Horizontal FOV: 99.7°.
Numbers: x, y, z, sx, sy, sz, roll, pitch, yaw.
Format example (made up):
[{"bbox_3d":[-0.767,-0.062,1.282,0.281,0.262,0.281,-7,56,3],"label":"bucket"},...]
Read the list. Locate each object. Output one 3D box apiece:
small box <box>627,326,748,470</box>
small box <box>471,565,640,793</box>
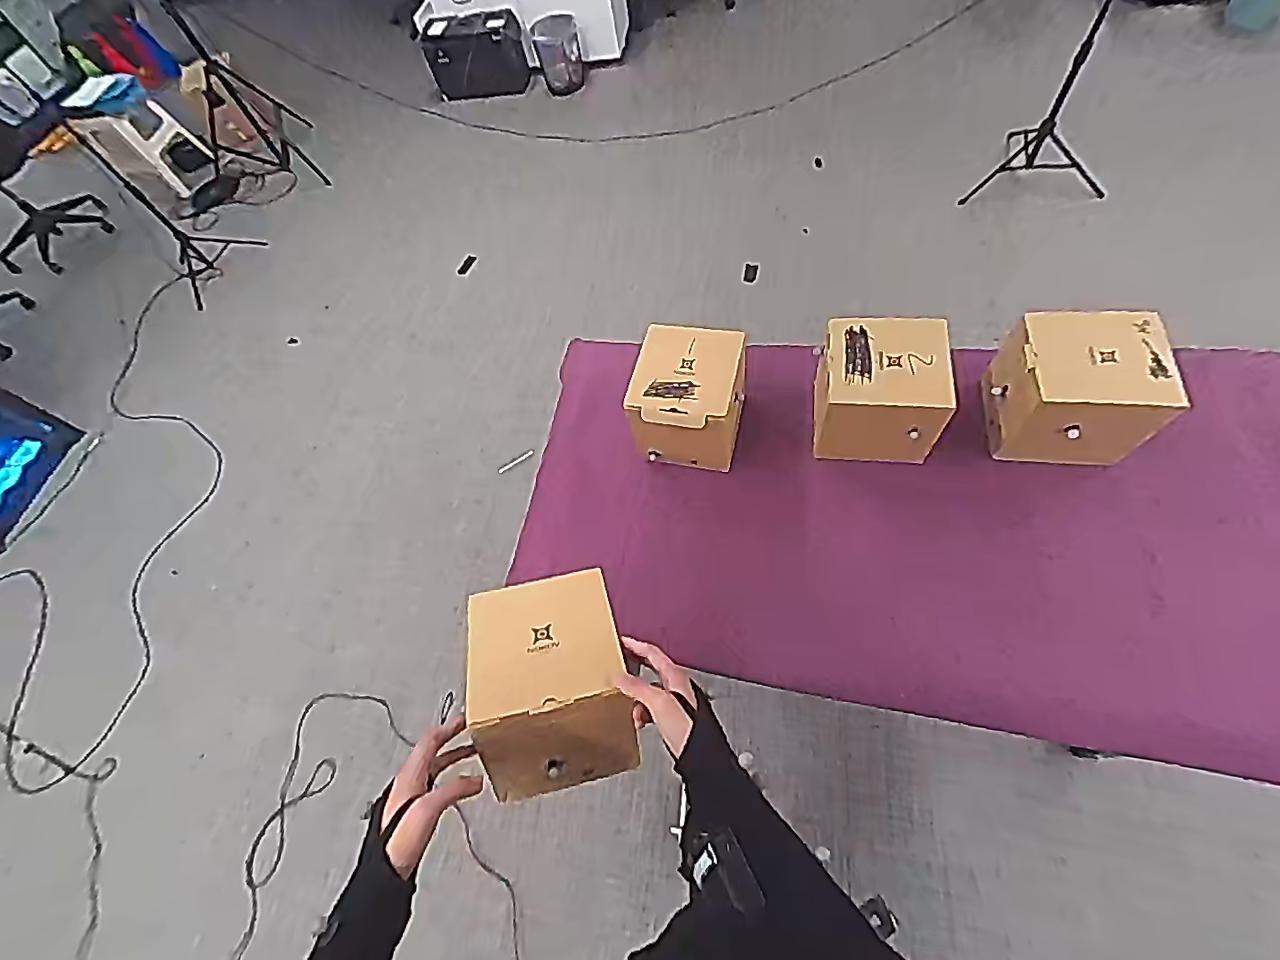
[{"bbox_3d":[0.090,-0.136,0.926,0.168,0.176,0.179,9,64,15],"label":"small box"},{"bbox_3d":[-0.099,0.232,0.645,0.168,0.176,0.179,-10,38,-9],"label":"small box"}]
